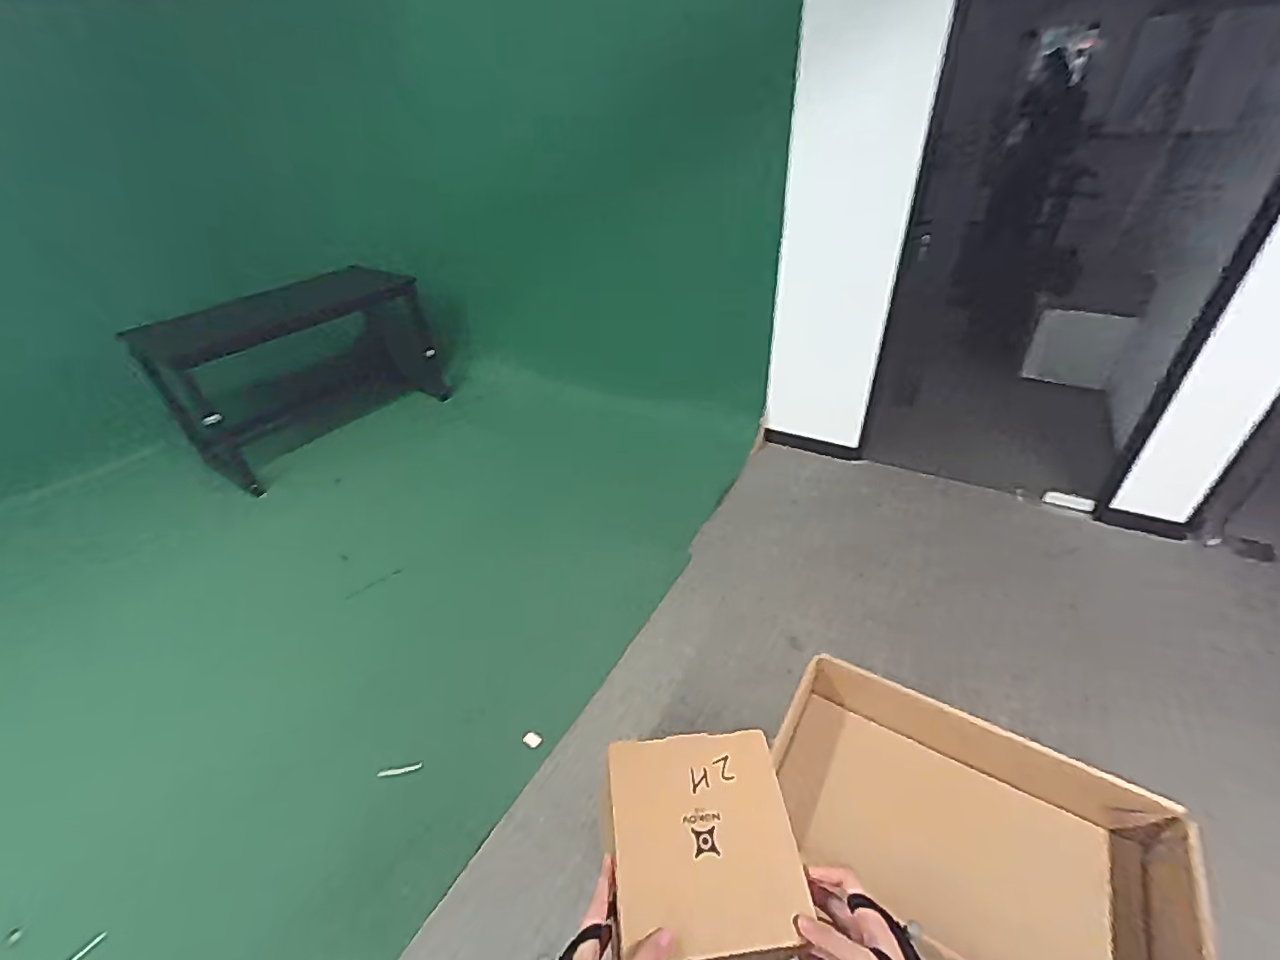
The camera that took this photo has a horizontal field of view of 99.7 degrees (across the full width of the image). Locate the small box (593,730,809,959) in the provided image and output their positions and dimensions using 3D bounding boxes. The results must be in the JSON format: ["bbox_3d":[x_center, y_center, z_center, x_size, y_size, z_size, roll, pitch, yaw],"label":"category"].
[{"bbox_3d":[0.041,0.374,0.534,0.168,0.176,0.179,0,41,-9],"label":"small box"}]
